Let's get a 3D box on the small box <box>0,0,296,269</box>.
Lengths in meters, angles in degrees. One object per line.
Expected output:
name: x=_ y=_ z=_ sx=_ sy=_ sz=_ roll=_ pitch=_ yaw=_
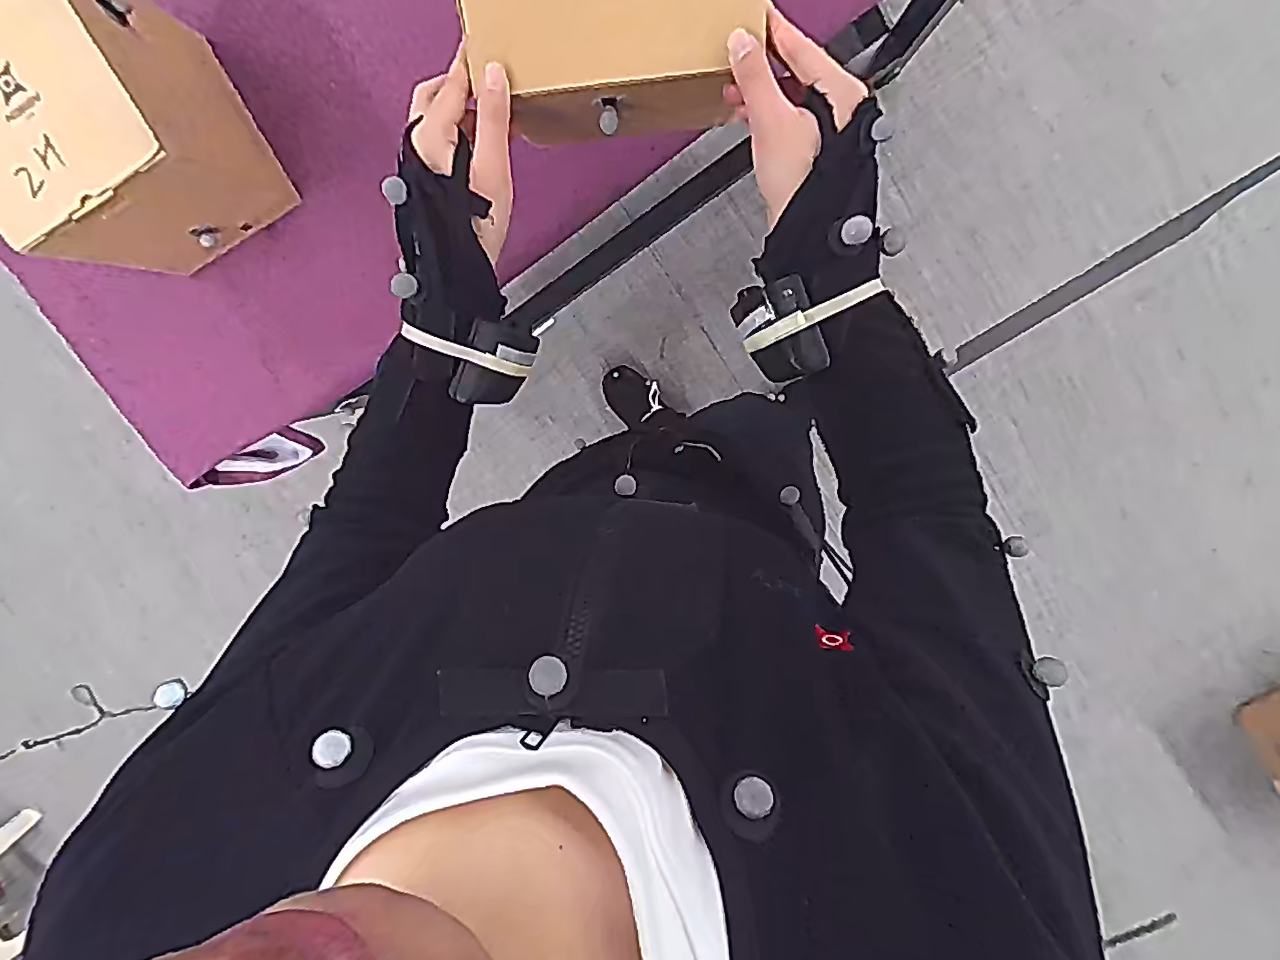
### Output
small box: x=-0.475 y=-0.319 z=0.495 sx=0.168 sy=0.176 sz=0.179 roll=-26 pitch=102 yaw=9
